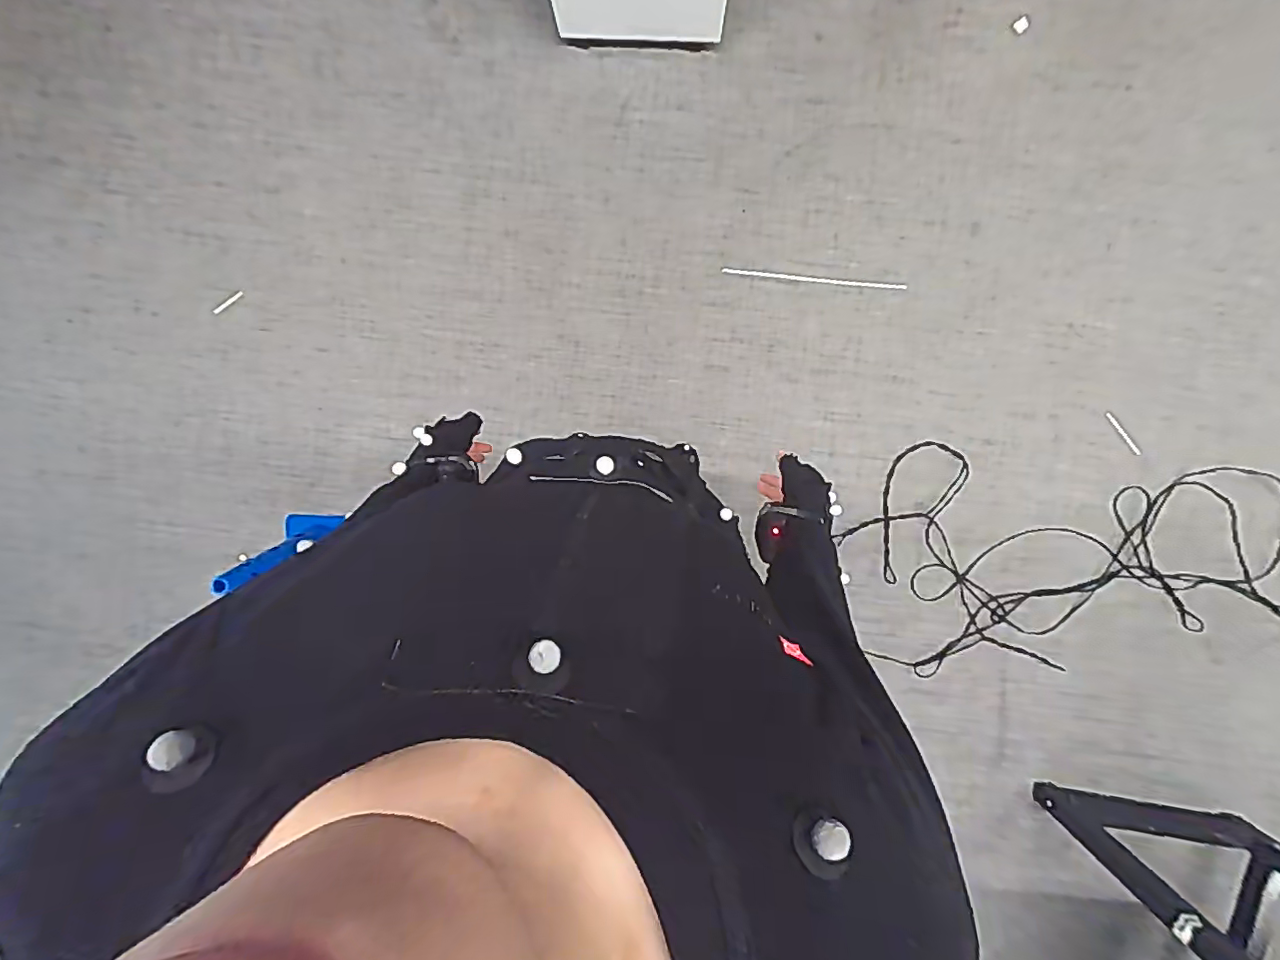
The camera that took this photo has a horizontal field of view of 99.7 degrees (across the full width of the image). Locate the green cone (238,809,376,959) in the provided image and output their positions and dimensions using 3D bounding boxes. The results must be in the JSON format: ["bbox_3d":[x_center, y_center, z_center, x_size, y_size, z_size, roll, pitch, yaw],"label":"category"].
[{"bbox_3d":[-0.879,1.074,1.397,0.200,0.368,0.202,9,94,1],"label":"green cone"}]
